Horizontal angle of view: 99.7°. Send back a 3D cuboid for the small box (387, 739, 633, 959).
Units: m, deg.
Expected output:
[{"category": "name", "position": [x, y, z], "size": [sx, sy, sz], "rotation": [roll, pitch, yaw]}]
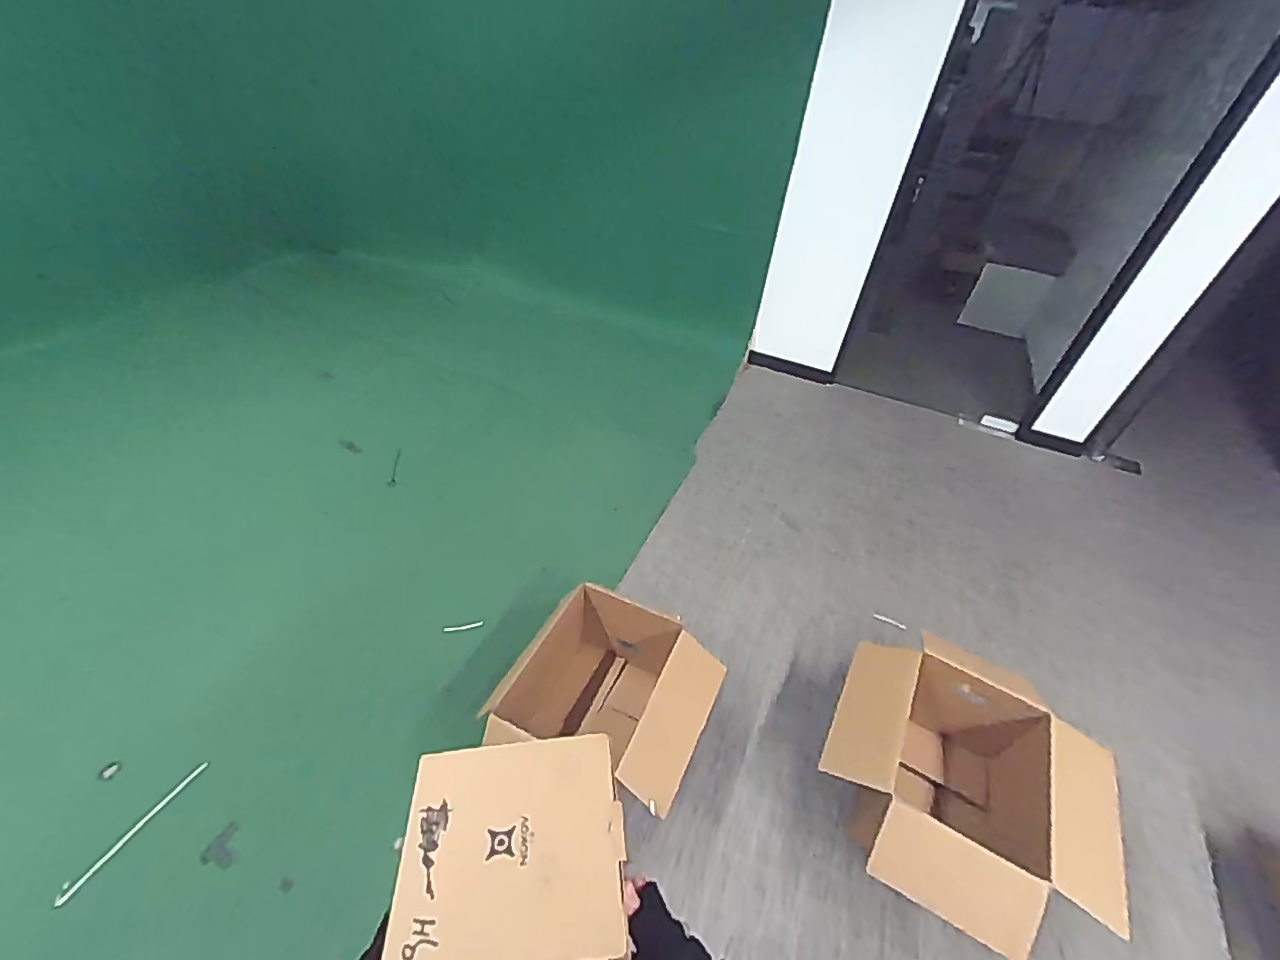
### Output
[{"category": "small box", "position": [-0.103, 0.362, 0.491], "size": [0.179, 0.176, 0.168], "rotation": [-2, 36, -6]}]
